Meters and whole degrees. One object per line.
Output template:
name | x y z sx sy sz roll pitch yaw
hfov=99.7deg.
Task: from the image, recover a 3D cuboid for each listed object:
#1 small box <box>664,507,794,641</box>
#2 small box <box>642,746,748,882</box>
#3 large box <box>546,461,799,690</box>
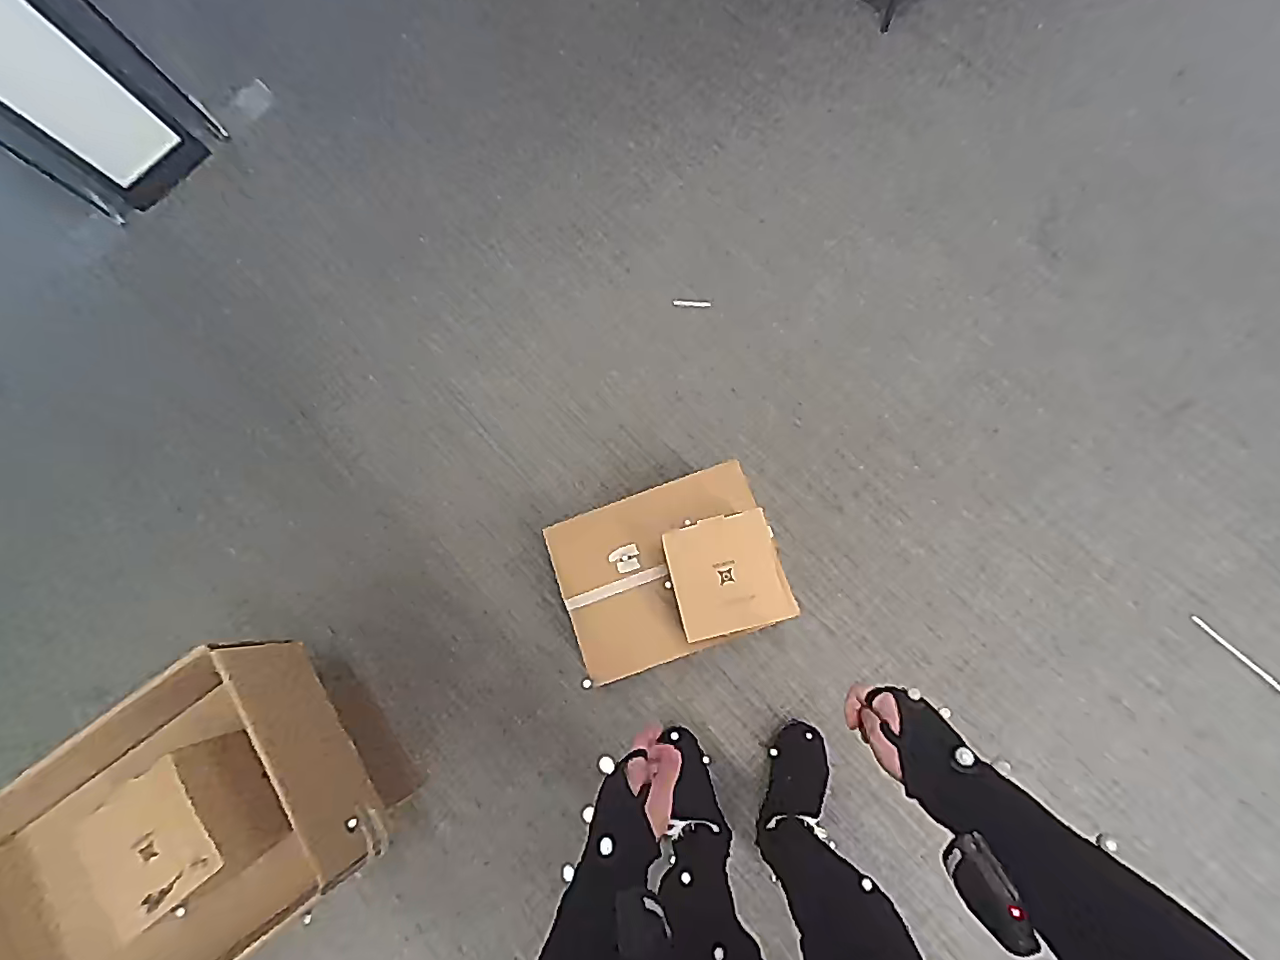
small box | 0.139 0.156 0.898 0.168 0.176 0.179 -14 79 3
small box | 0.116 0.685 1.128 0.179 0.176 0.168 22 78 19
large box | 0.069 0.198 1.149 0.408 0.320 0.320 -20 76 2
